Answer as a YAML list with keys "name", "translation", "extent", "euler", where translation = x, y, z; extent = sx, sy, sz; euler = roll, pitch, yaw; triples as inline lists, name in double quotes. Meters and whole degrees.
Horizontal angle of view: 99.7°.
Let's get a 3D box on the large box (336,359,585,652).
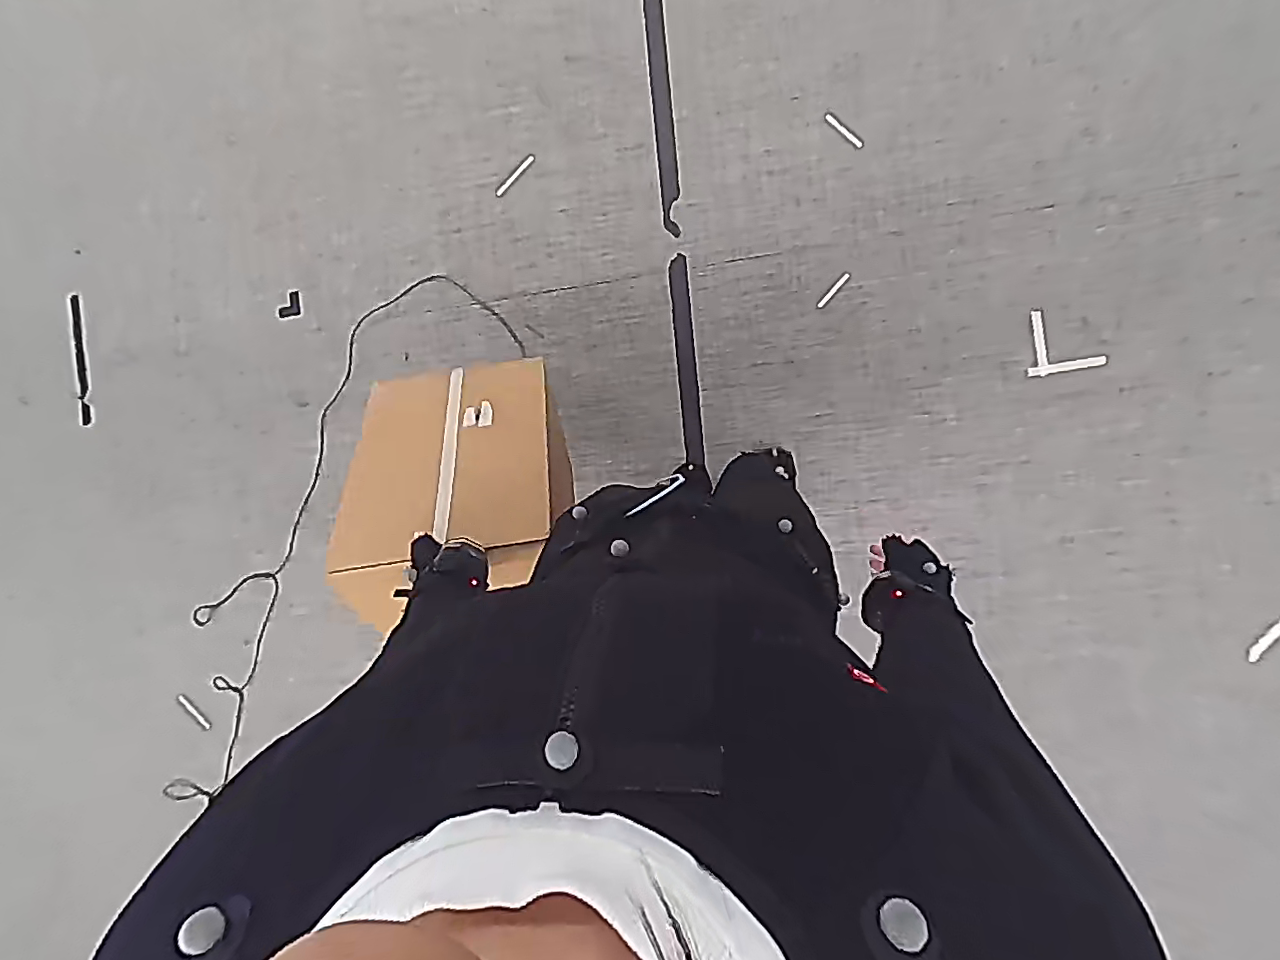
- name: "large box"
  translation: [-0.288, 0.043, 0.981]
  extent: [0.320, 0.320, 0.408]
  euler: [-8, 51, -3]
